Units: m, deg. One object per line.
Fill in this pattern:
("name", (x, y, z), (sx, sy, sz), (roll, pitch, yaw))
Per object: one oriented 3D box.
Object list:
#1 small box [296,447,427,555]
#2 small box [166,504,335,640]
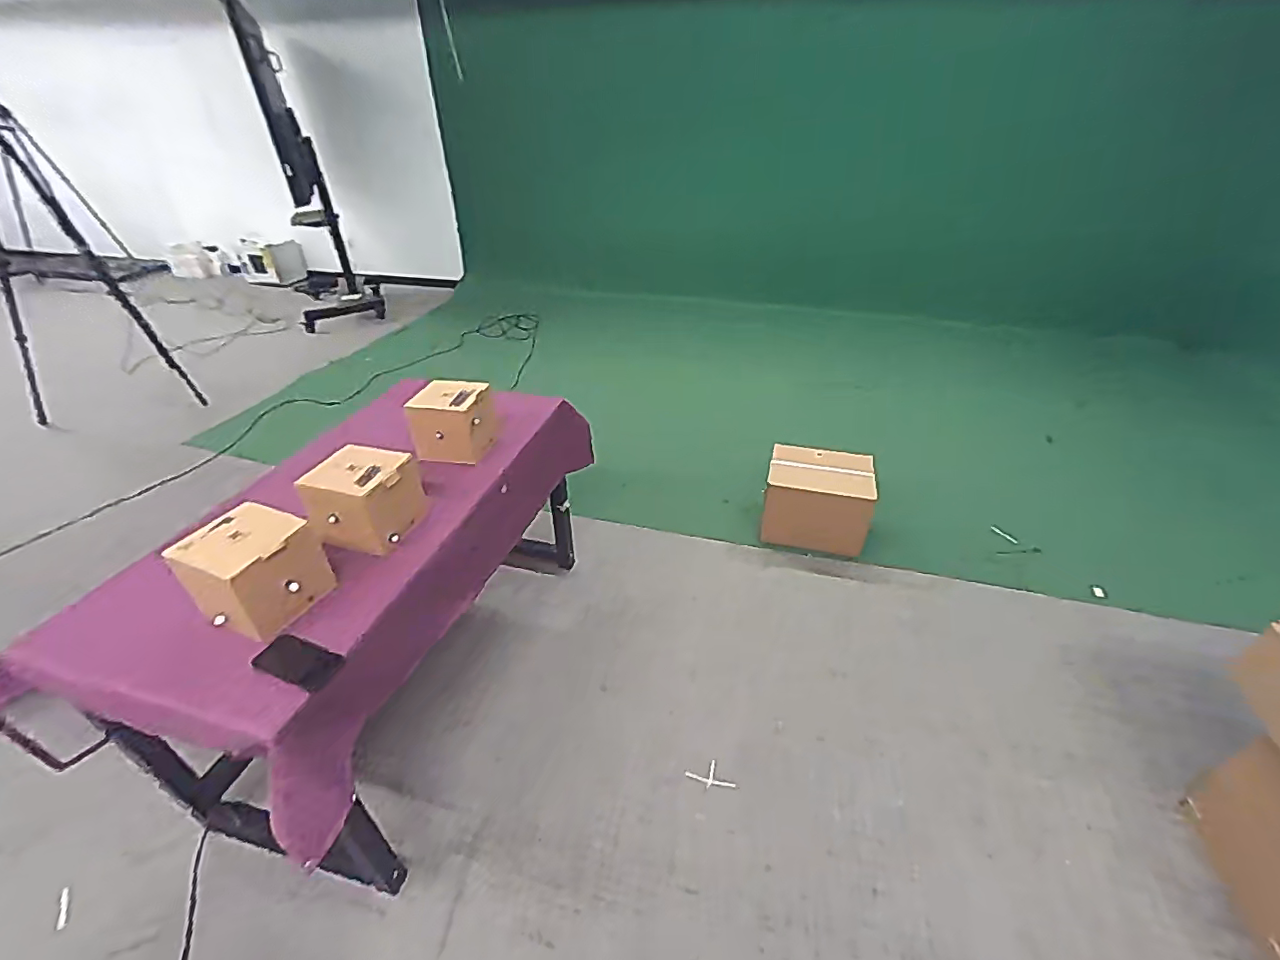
("small box", (-0.608, 0.047, 1.208), (0.179, 0.176, 0.168), (8, 36, 14))
("small box", (-0.725, 0.176, 1.028), (0.179, 0.176, 0.168), (14, 37, 19))
